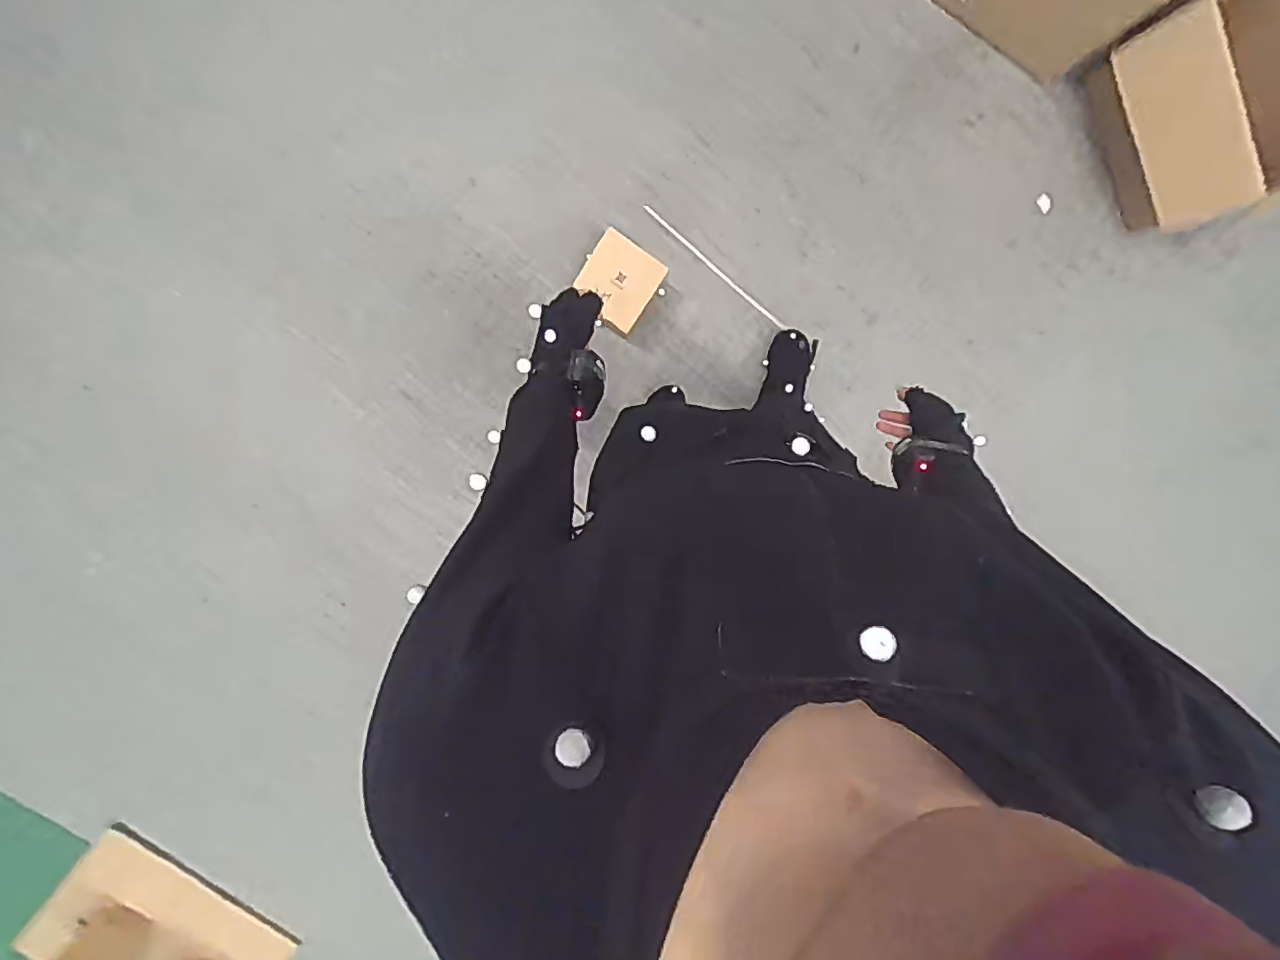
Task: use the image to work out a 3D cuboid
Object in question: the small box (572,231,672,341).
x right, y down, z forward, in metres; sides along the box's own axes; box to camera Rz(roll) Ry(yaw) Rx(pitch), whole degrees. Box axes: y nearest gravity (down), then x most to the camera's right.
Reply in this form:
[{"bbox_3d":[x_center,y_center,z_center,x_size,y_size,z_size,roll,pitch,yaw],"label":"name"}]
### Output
[{"bbox_3d":[-0.043,-0.455,1.299,0.168,0.176,0.179,35,98,-5],"label":"small box"}]
